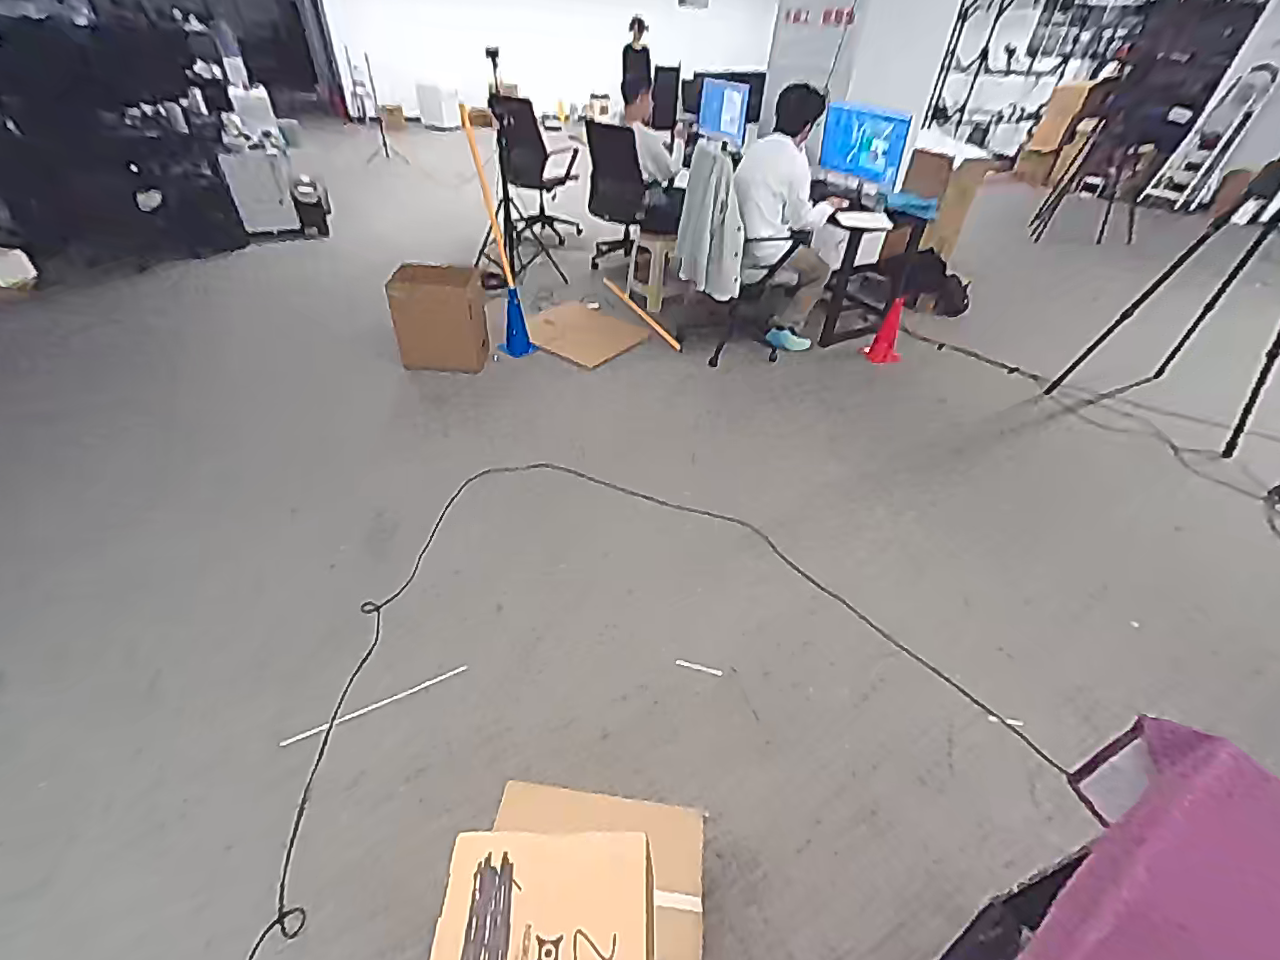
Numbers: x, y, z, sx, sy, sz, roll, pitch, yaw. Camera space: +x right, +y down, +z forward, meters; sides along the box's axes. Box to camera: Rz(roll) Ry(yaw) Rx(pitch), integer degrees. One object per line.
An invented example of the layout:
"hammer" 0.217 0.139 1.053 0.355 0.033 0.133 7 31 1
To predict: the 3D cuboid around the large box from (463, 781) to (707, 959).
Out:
"large box" -0.091 0.840 1.063 0.408 0.320 0.320 7 41 3
